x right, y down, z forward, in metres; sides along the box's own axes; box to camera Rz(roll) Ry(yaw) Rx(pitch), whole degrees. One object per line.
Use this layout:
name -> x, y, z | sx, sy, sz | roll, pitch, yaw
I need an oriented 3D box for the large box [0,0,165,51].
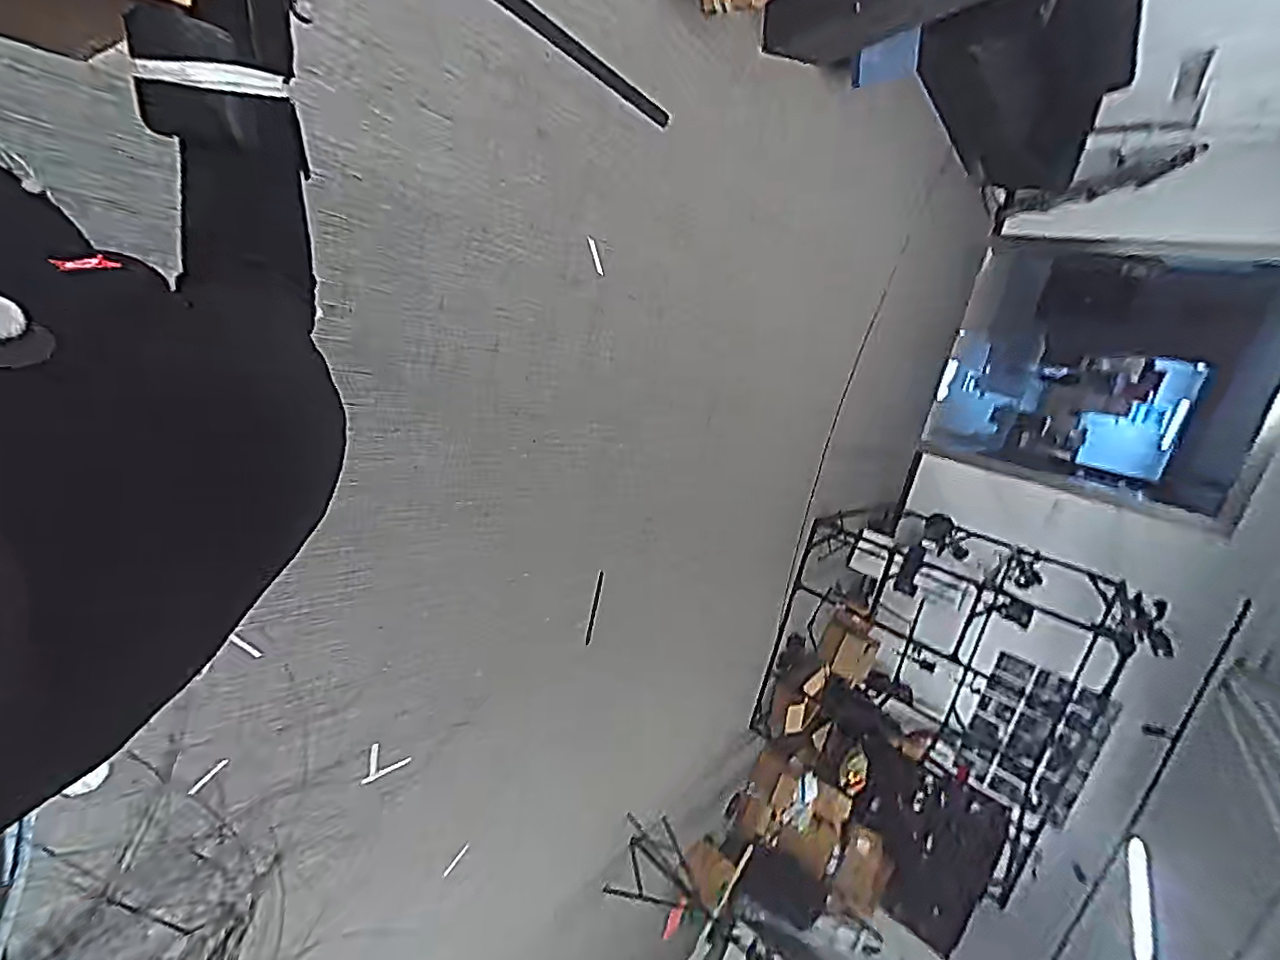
large box -> -0.477, -0.436, 0.195 | 0.408, 0.320, 0.320 | -14, 121, -51
